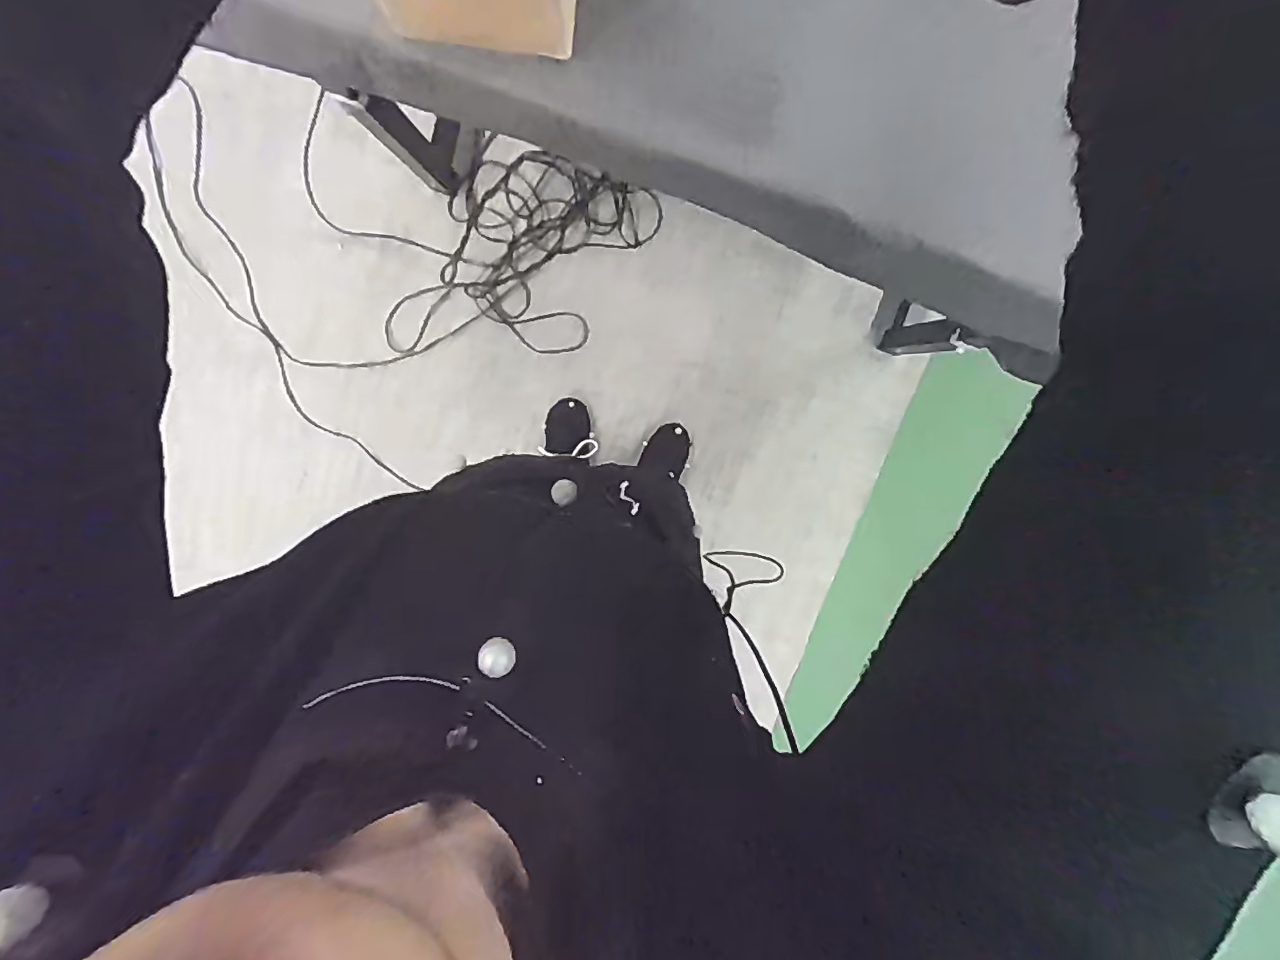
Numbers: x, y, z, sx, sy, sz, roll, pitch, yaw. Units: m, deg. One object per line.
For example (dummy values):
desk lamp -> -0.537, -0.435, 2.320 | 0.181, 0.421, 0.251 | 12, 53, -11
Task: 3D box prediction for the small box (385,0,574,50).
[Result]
small box -> -0.141, -0.503, 0.450 | 0.179, 0.176, 0.168 | 7, 100, -3
